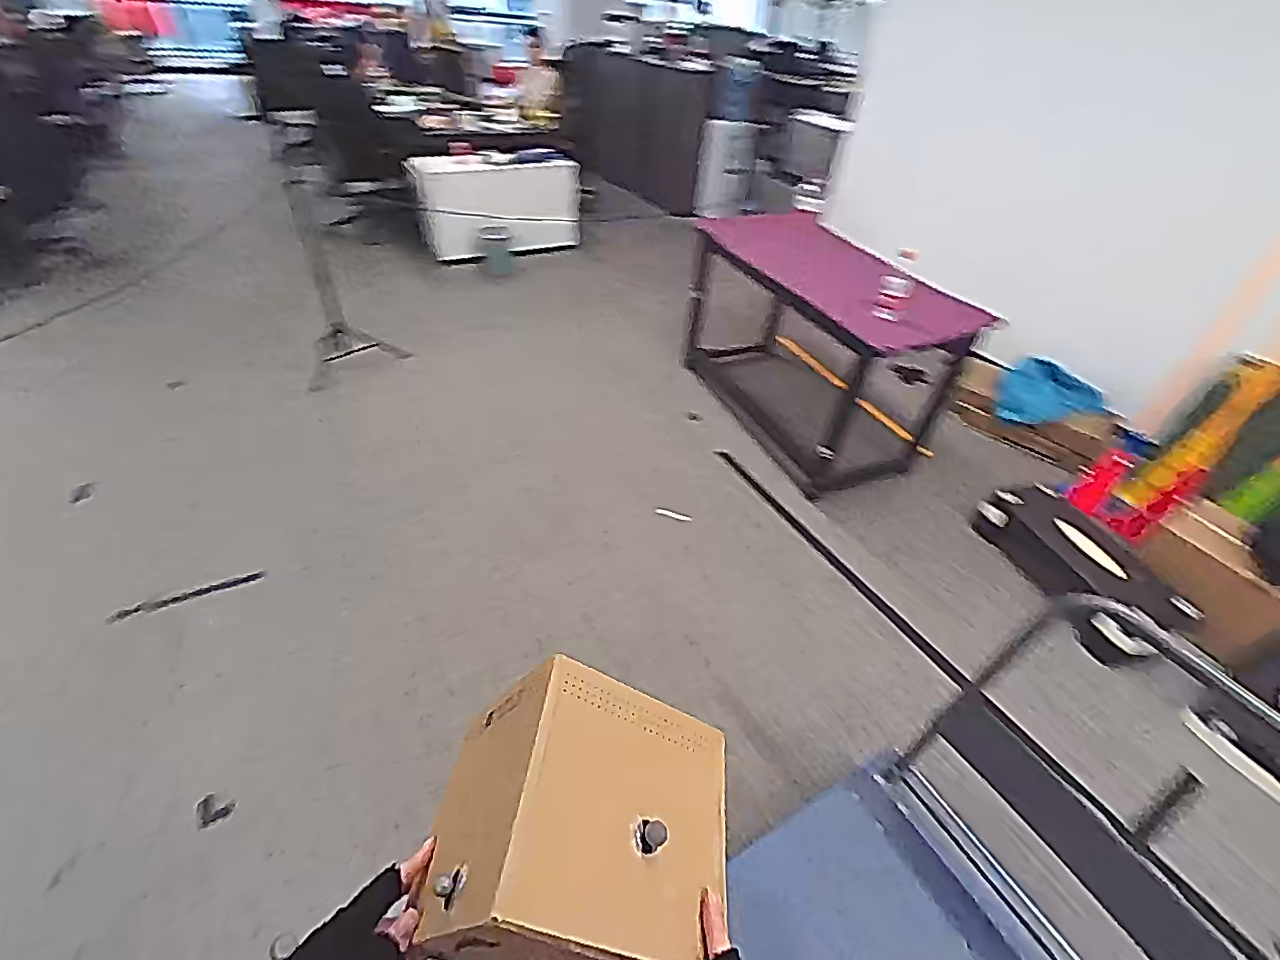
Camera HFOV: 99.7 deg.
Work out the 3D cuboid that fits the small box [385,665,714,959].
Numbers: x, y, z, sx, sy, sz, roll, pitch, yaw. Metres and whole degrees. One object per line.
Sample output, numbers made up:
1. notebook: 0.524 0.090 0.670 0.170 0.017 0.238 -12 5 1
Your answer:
1. small box: -0.058 0.274 0.428 0.179 0.168 0.176 32 36 -20
